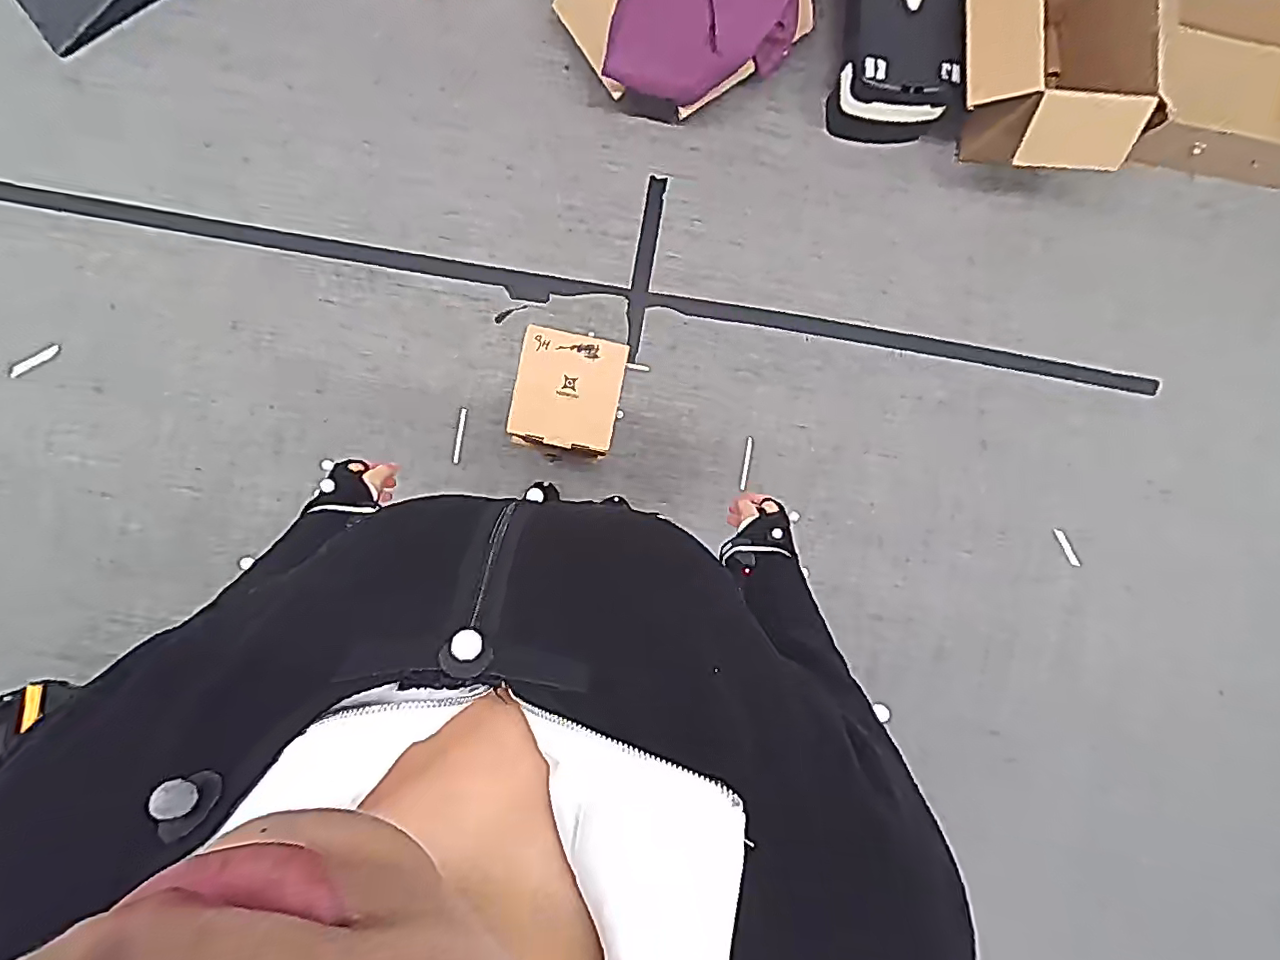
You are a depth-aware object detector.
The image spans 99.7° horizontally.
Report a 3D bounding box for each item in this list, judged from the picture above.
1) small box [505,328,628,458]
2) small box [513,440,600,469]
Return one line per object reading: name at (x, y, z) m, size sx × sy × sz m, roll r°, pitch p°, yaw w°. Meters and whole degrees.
small box at (-0.118, -0.137, 0.923) m, size 0.168 × 0.176 × 0.179 m, roll 12°, pitch 90°, yaw -4°
small box at (-0.143, -0.126, 1.086) m, size 0.168 × 0.176 × 0.179 m, roll 15°, pitch 90°, yaw -4°
